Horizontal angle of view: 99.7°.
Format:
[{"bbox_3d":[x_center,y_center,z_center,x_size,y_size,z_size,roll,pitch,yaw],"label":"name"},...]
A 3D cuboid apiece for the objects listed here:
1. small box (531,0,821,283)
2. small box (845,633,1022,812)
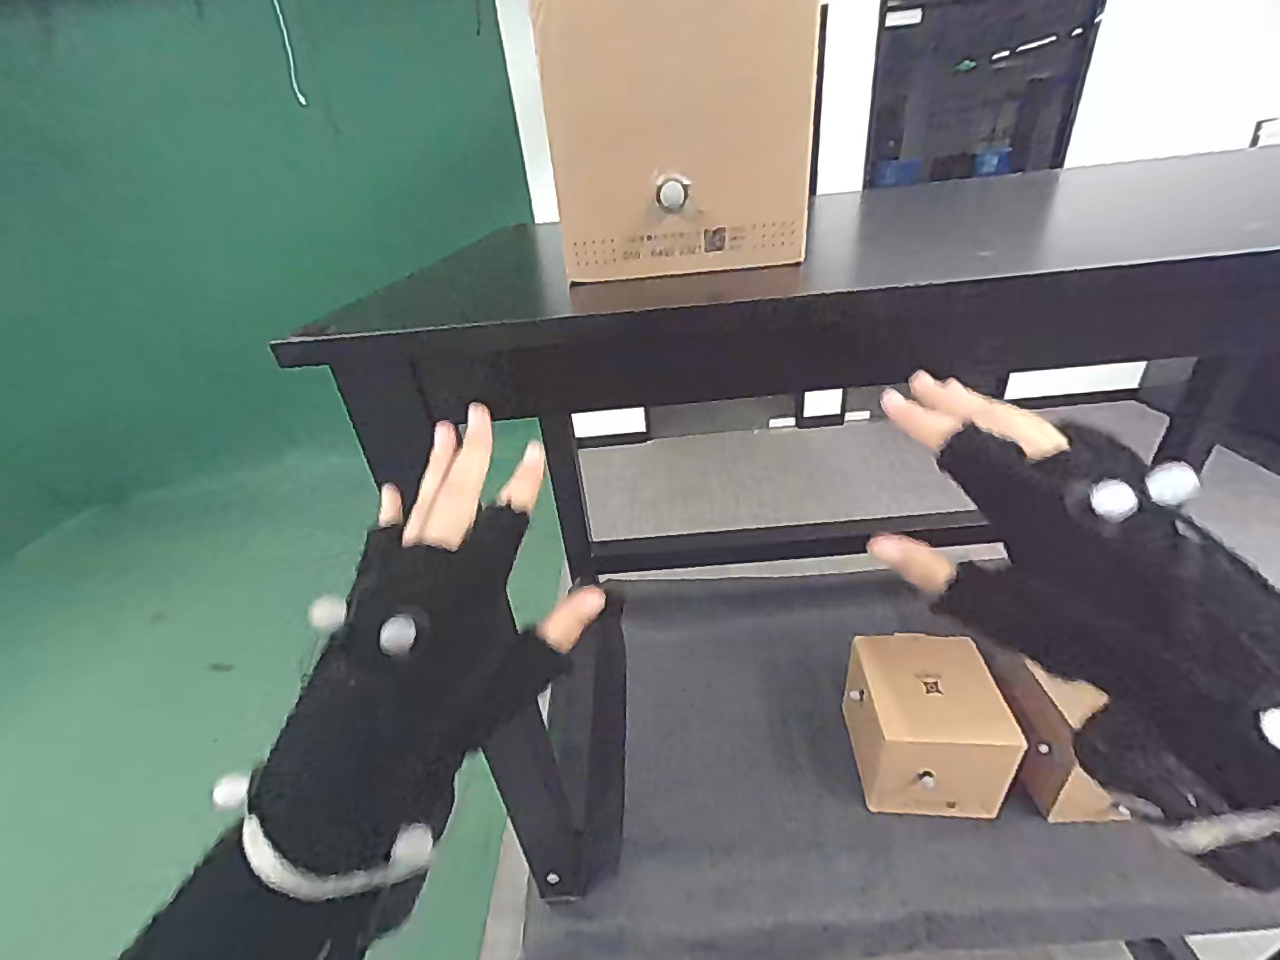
[{"bbox_3d":[0.026,-0.253,0.408,0.168,0.176,0.179,-4,31,4],"label":"small box"},{"bbox_3d":[0.401,0.343,0.774,0.168,0.176,0.179,-2,31,8],"label":"small box"}]
